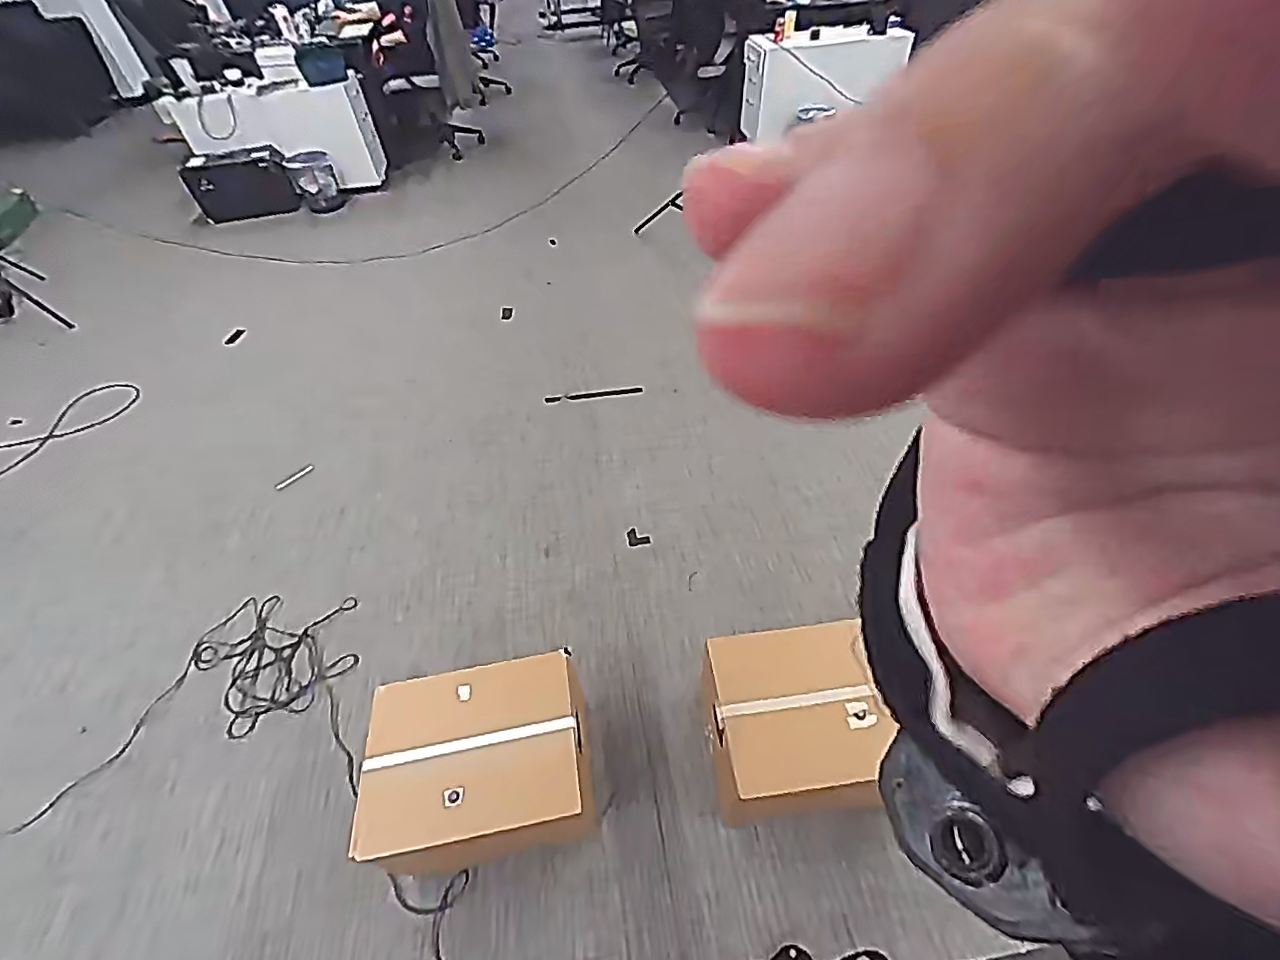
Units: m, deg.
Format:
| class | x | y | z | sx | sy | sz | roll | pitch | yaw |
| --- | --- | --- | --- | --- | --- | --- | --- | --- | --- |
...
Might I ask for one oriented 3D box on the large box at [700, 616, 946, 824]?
| class | x | y | z | sx | sy | sz | roll | pitch | yaw |
| --- | --- | --- | --- | --- | --- | --- | --- | --- | --- |
| large box | 0.367 | 0.540 | 1.211 | 0.408 | 0.320 | 0.320 | -6 | 49 | -3 |
